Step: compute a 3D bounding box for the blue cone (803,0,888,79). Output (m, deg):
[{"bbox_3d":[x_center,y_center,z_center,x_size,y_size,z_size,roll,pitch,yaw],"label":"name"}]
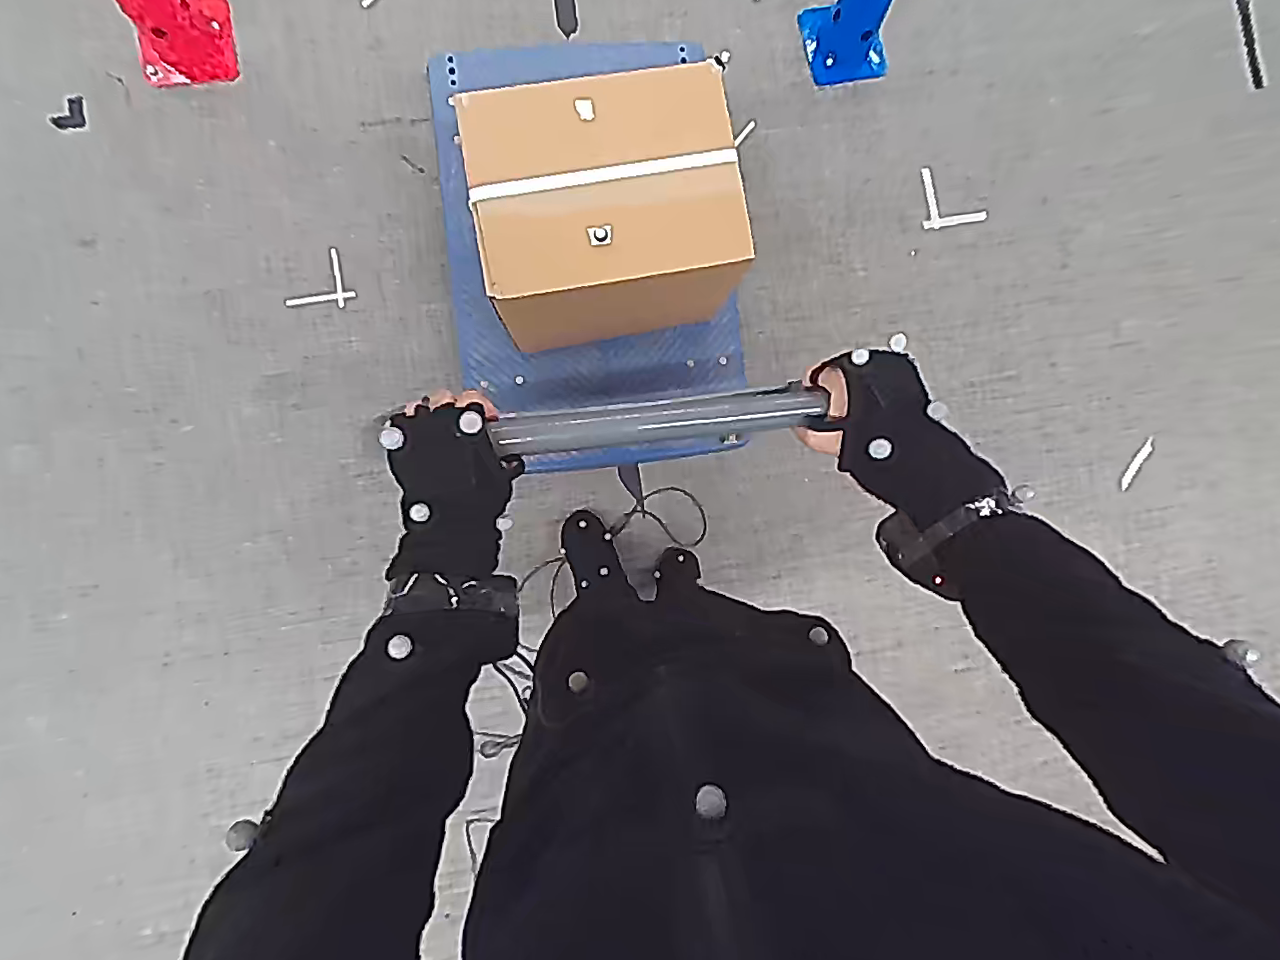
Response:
[{"bbox_3d":[0.529,-1.109,1.191,0.193,0.380,0.192,-12,89,-6],"label":"blue cone"}]
